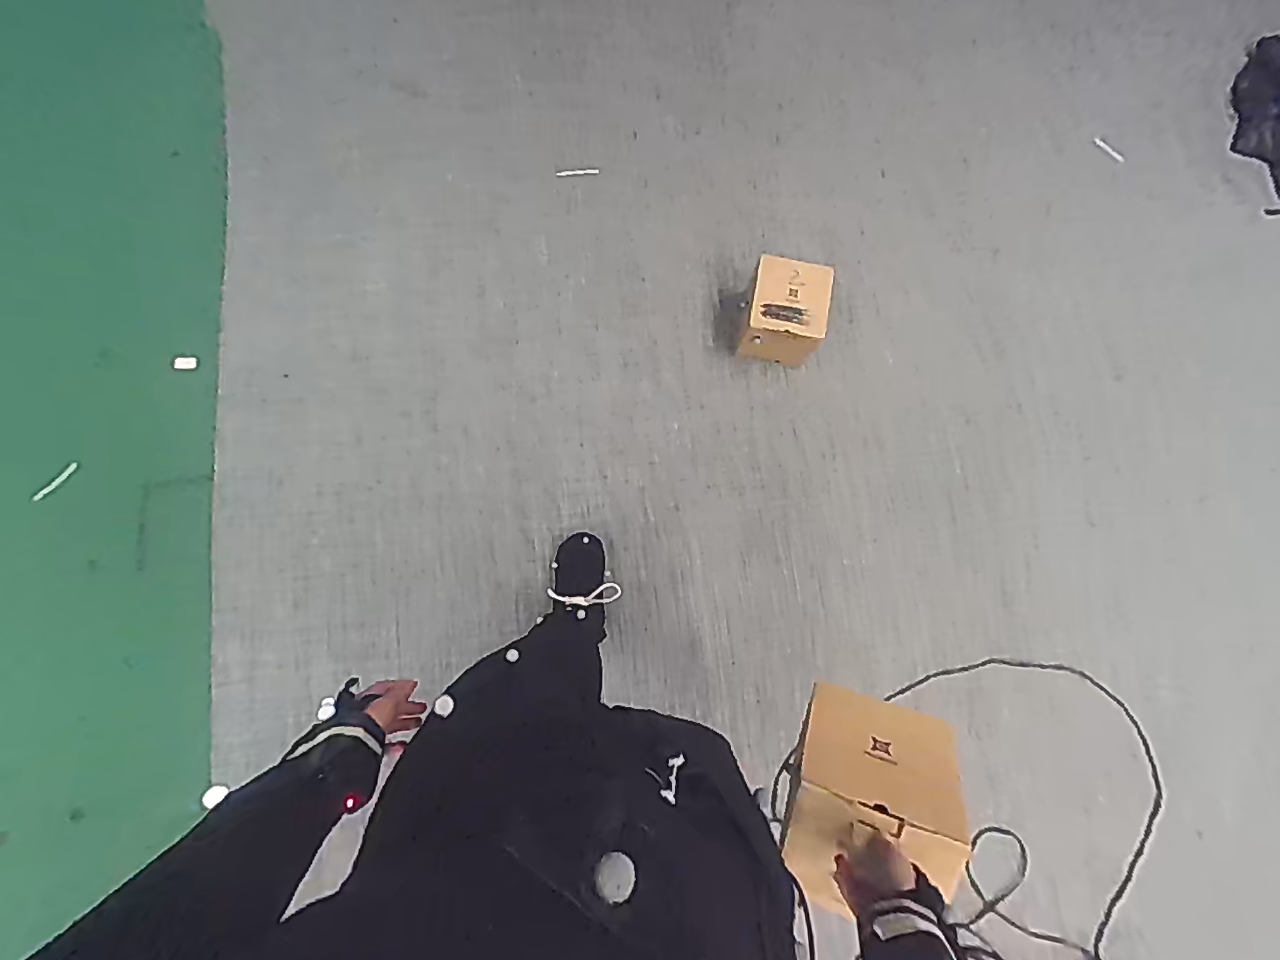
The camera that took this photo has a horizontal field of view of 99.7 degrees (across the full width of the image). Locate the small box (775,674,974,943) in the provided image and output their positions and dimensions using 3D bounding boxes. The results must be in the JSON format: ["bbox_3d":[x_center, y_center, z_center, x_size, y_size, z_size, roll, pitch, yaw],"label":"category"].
[{"bbox_3d":[0.263,0.371,0.635,0.168,0.179,0.176,13,112,19],"label":"small box"}]
